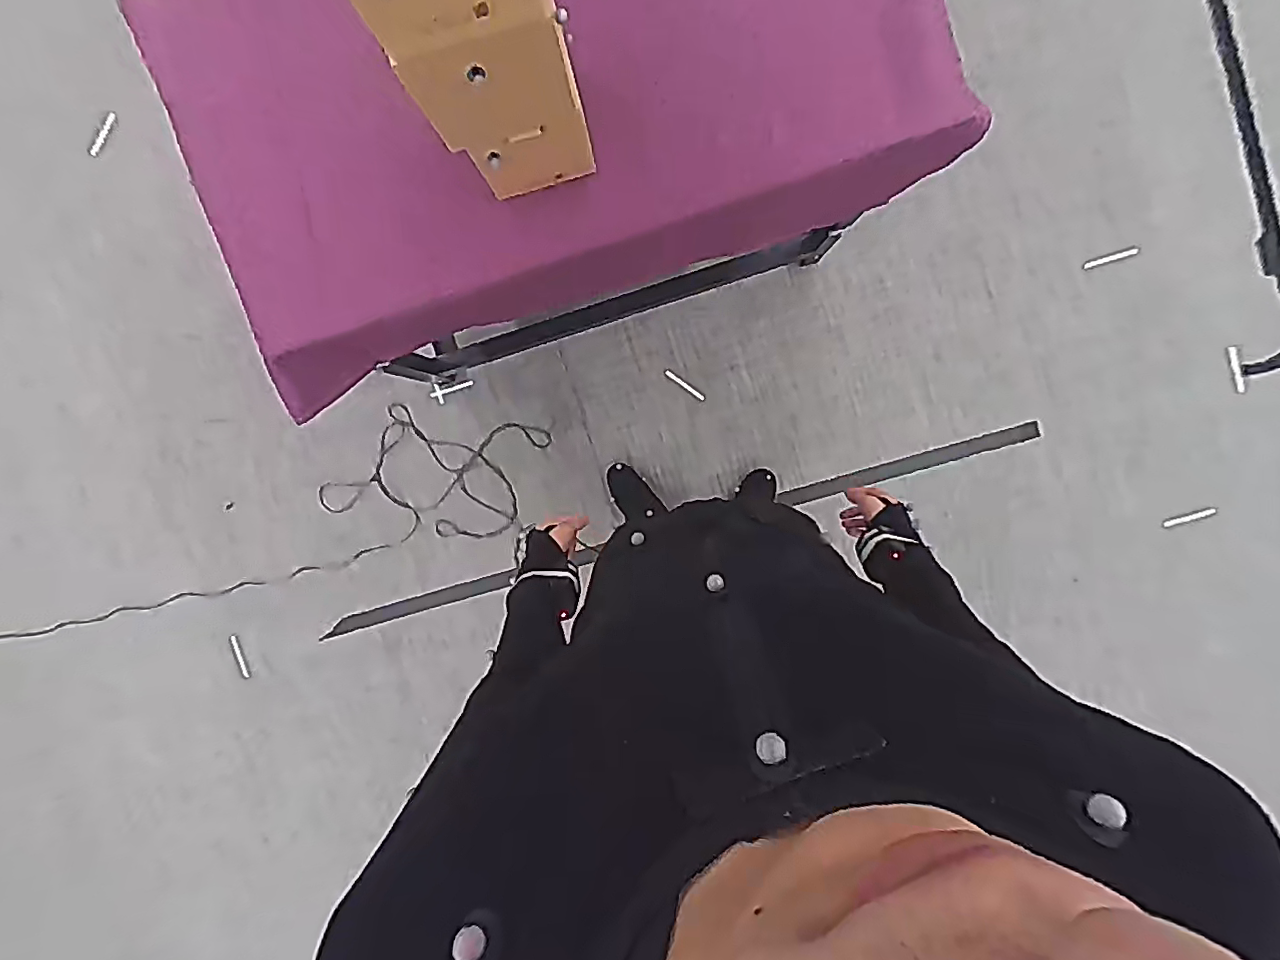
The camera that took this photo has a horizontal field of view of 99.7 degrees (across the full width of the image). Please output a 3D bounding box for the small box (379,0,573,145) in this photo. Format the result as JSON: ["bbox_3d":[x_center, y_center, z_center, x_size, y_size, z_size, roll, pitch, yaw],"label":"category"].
[{"bbox_3d":[-0.189,-0.524,0.620,0.179,0.176,0.168,-15,94,2],"label":"small box"}]

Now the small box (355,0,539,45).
[{"bbox_3d":[-0.196,-0.519,0.457,0.168,0.176,0.179,-15,92,3],"label":"small box"}]
